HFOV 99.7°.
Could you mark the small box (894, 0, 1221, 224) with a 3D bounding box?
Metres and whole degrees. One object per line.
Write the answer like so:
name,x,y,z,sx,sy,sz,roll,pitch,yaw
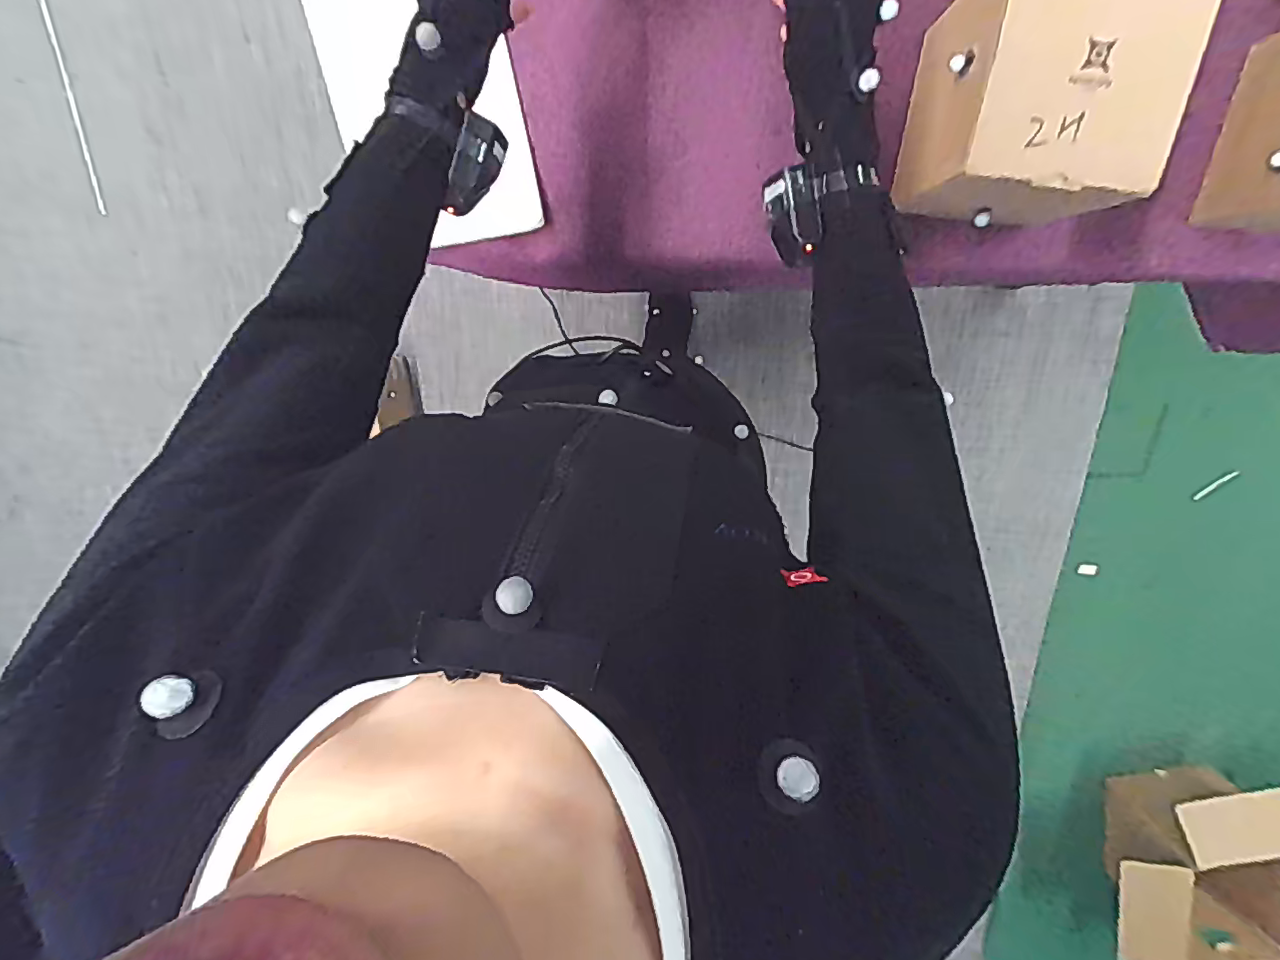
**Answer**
small box,0.369,-0.360,0.514,0.168,0.176,0.179,7,107,1
